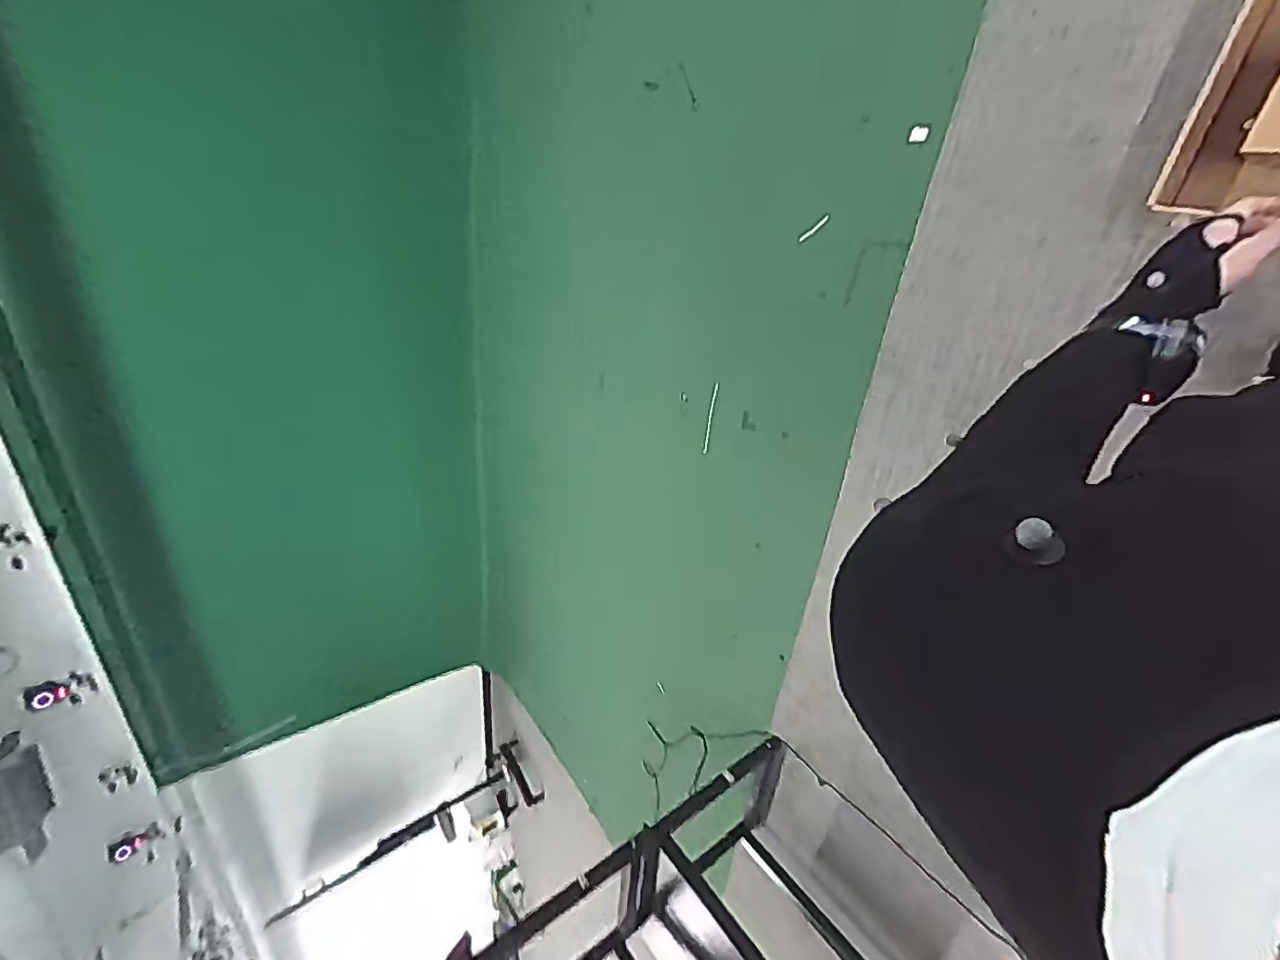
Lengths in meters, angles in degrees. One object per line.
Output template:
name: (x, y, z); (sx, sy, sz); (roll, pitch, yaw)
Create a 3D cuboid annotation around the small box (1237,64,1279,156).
small box: (1.135, -0.629, 0.871); (0.168, 0.176, 0.179); (34, 127, 41)
